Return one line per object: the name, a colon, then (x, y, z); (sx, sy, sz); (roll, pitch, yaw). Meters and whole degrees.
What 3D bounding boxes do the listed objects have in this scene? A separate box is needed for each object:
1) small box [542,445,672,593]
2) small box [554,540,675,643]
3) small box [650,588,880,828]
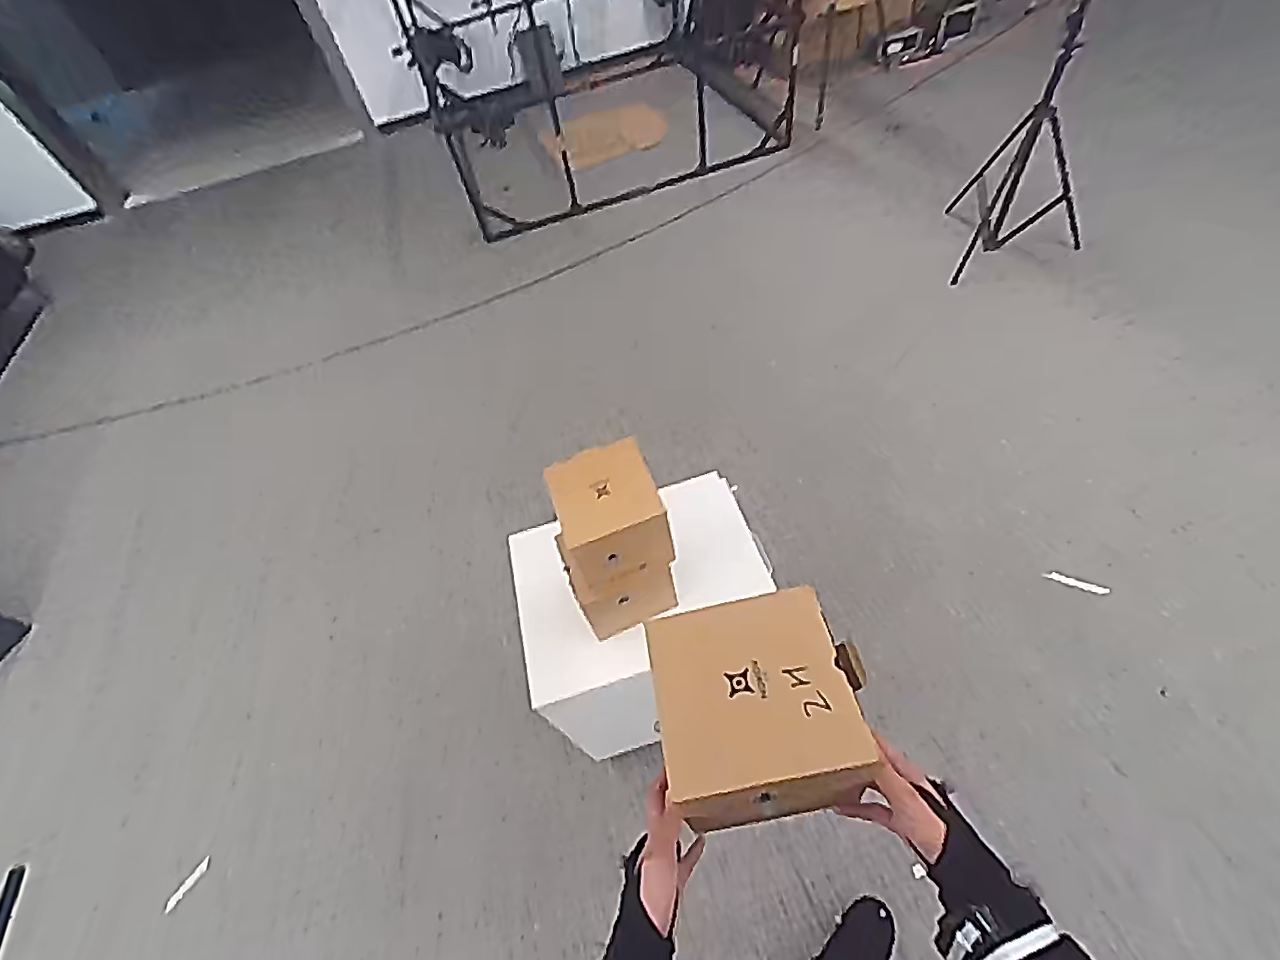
small box: (-0.053, 0.076, 0.944); (0.168, 0.176, 0.179); (-21, 51, -6)
small box: (-0.046, 0.192, 1.061); (0.179, 0.176, 0.168); (-23, 52, -8)
small box: (0.118, 0.237, 0.553); (0.179, 0.176, 0.168); (-12, 48, 3)
